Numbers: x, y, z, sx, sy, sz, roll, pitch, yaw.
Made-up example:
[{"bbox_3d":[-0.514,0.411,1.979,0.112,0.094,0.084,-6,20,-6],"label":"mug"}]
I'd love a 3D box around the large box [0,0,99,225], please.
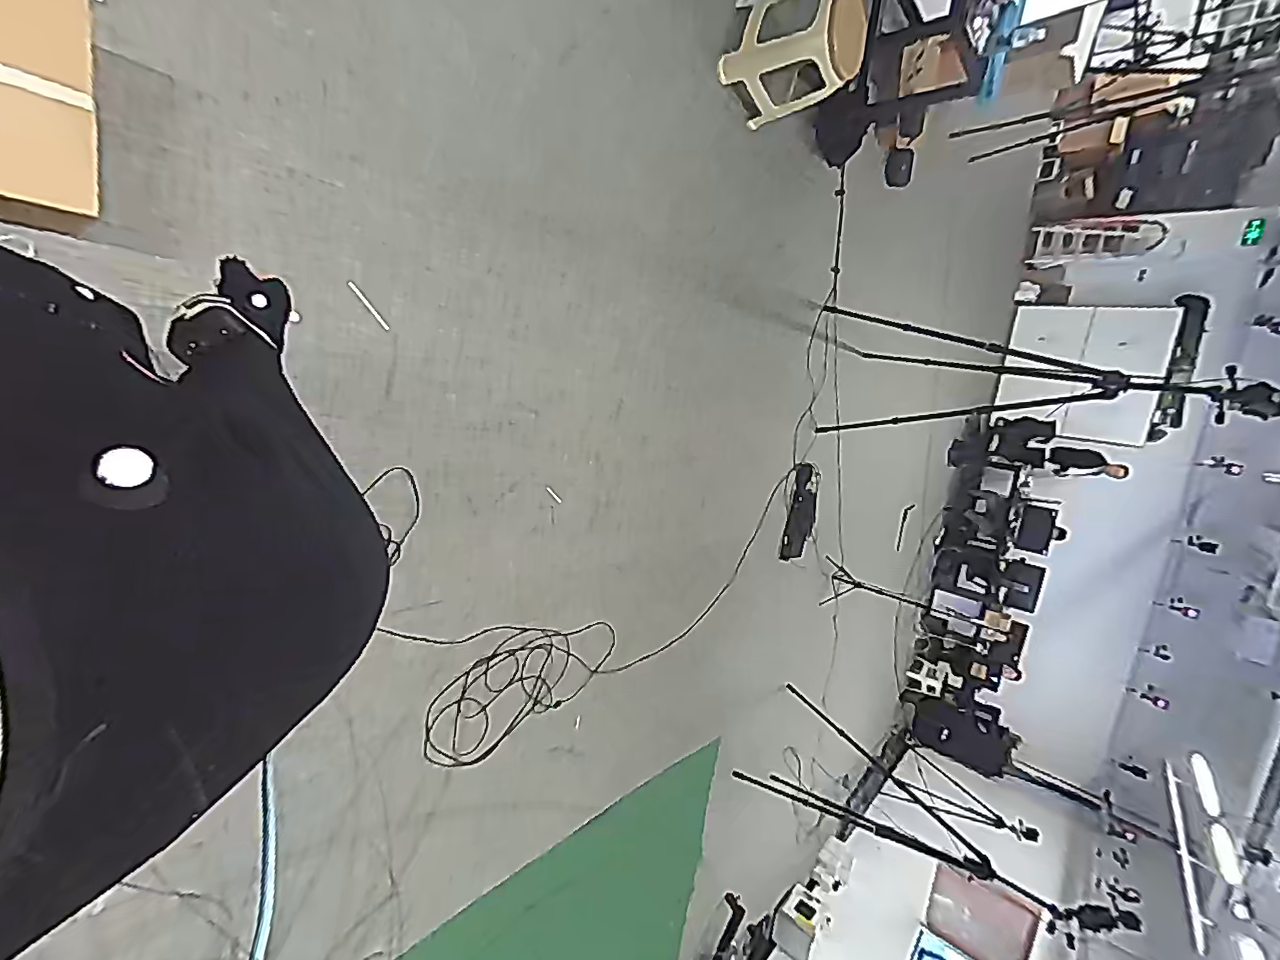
[{"bbox_3d":[-1.045,-0.581,0.739,0.408,0.320,0.320,-3,105,-49],"label":"large box"}]
